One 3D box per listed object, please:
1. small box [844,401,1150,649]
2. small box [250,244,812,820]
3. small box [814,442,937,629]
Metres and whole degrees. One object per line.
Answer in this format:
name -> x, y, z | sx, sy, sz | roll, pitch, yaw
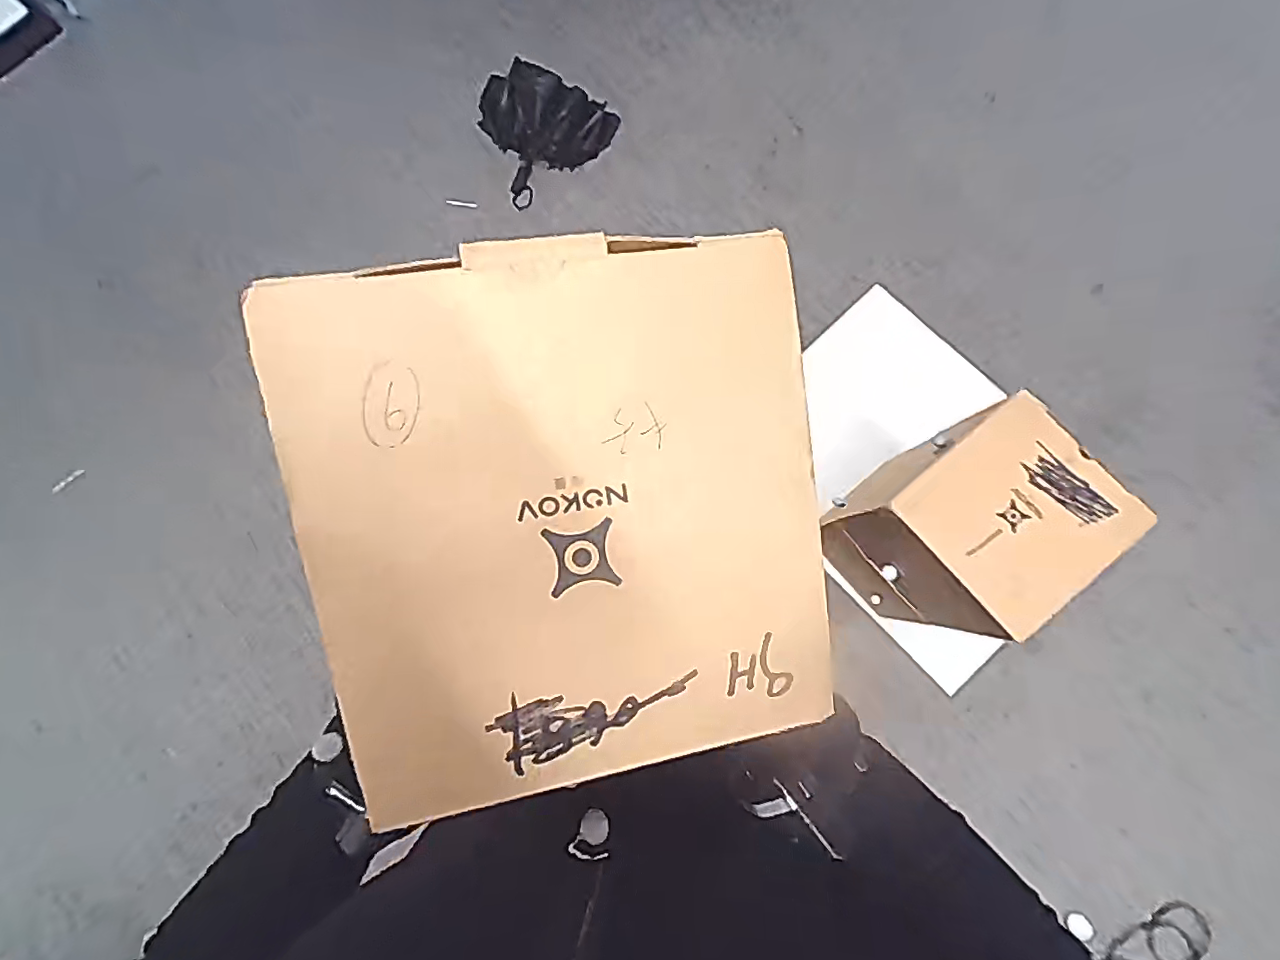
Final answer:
small box -> 0.353, 0.050, 0.577 | 0.179, 0.176, 0.168 | -39, 80, -3
small box -> -0.039, 0.010, 0.260 | 0.168, 0.176, 0.179 | -9, 97, -8
small box -> 0.362, 0.081, 0.739 | 0.179, 0.176, 0.168 | -40, 80, -5
